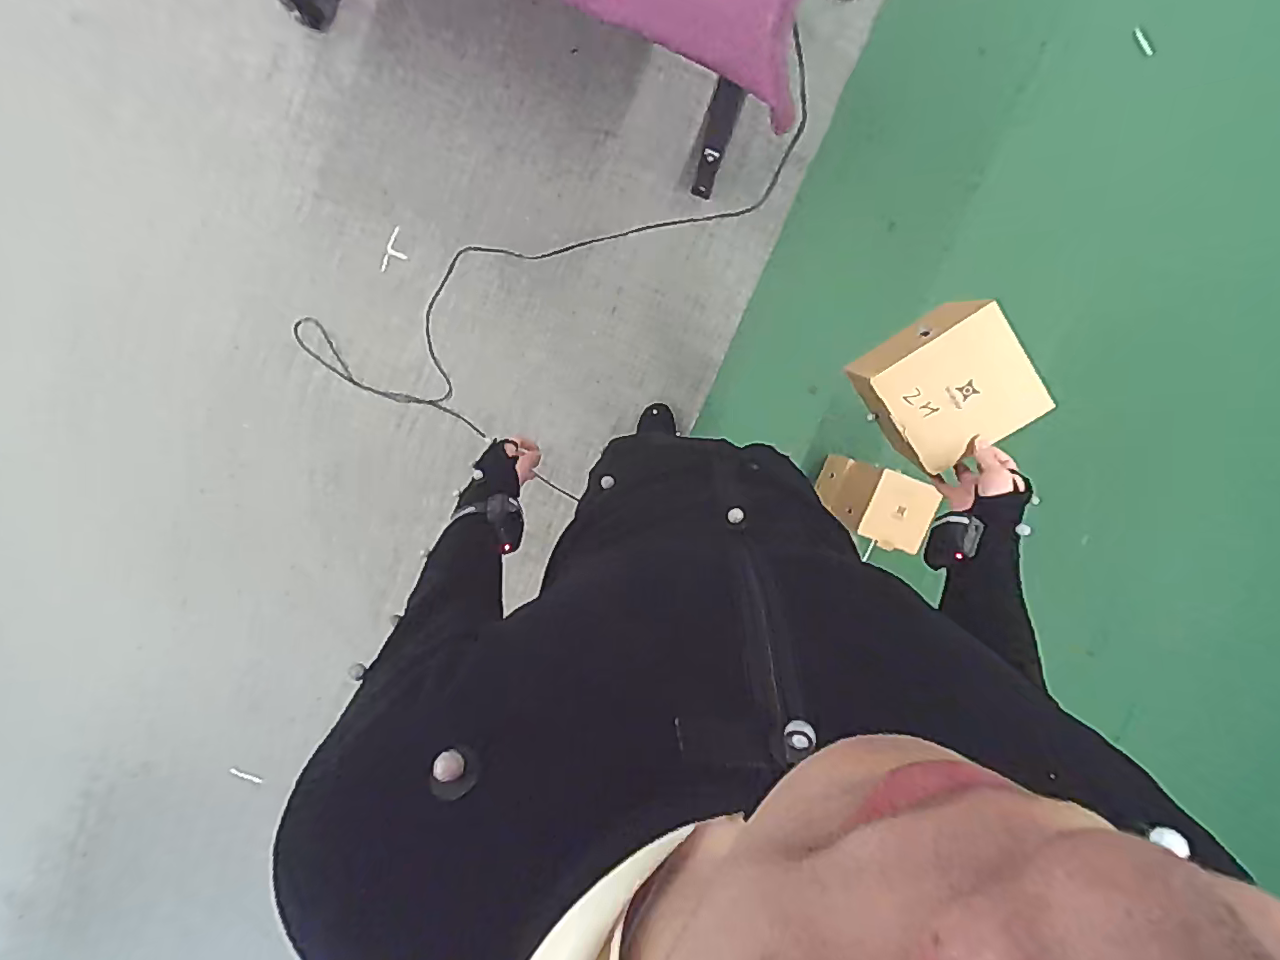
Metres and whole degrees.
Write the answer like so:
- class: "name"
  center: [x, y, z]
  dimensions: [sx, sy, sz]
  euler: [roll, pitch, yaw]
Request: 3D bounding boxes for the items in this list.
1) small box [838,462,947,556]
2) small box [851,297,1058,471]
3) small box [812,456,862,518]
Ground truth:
- class: "small box"
  center: [0.635, 0.068, 1.387]
  dimensions: [0.168, 0.176, 0.179]
  euler: [21, 97, -5]
- class: "small box"
  center: [0.434, -0.144, 0.779]
  dimensions: [0.179, 0.176, 0.168]
  euler: [-34, 99, 18]
- class: "small box"
  center: [0.619, 0.037, 1.546]
  dimensions: [0.179, 0.176, 0.168]
  euler: [21, 98, -4]
